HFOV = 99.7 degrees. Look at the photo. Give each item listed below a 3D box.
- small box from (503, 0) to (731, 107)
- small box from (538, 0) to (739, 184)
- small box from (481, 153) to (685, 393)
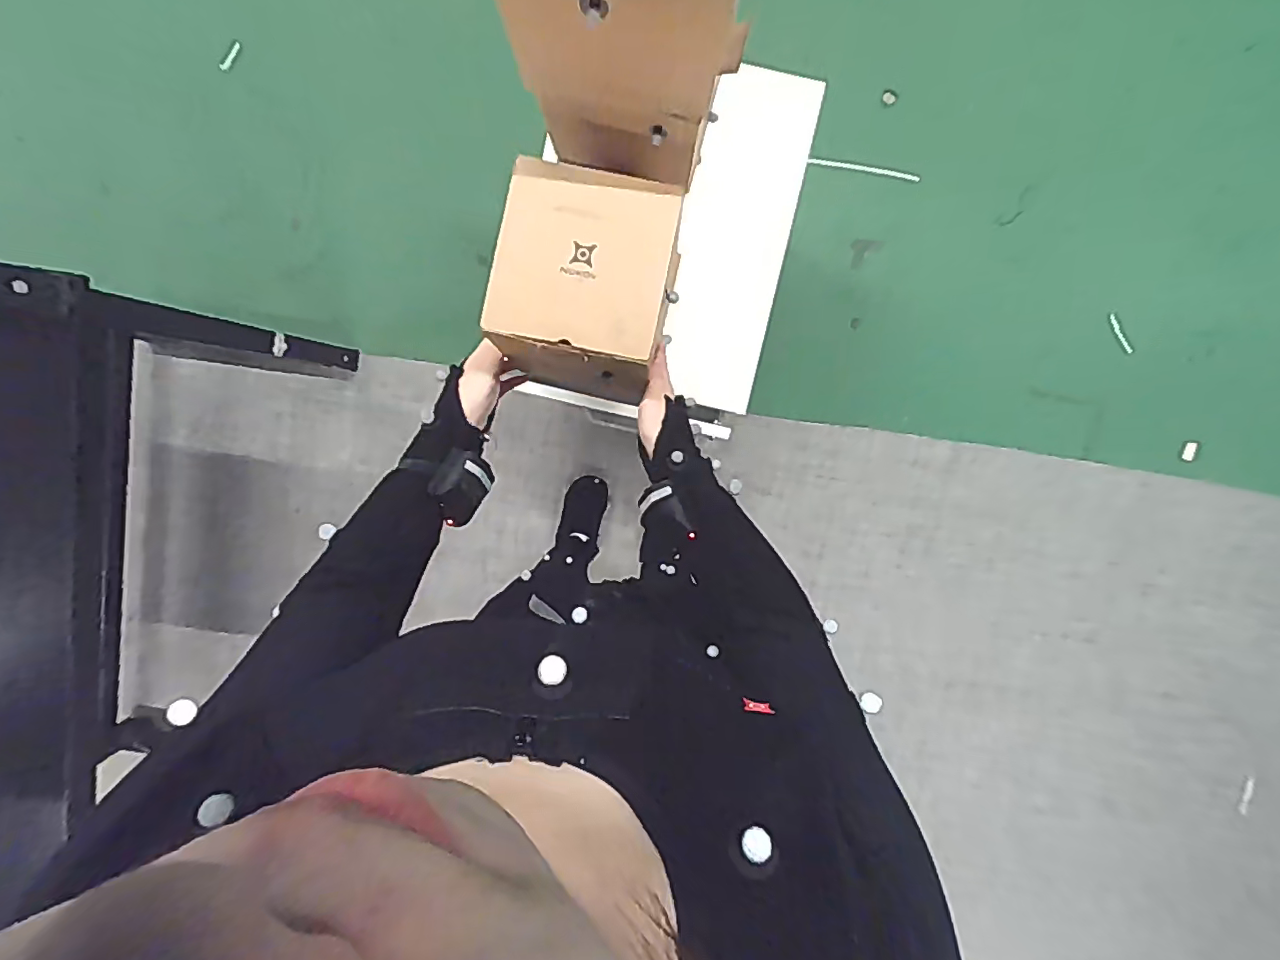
[{"bbox_3d":[-0.011,-0.420,0.408,0.179,0.176,0.168,8,97,-1],"label":"small box"},{"bbox_3d":[-0.004,-0.443,0.571,0.179,0.176,0.168,16,96,-2],"label":"small box"},{"bbox_3d":[-0.053,-0.202,0.580,0.168,0.176,0.179,11,87,0],"label":"small box"}]
